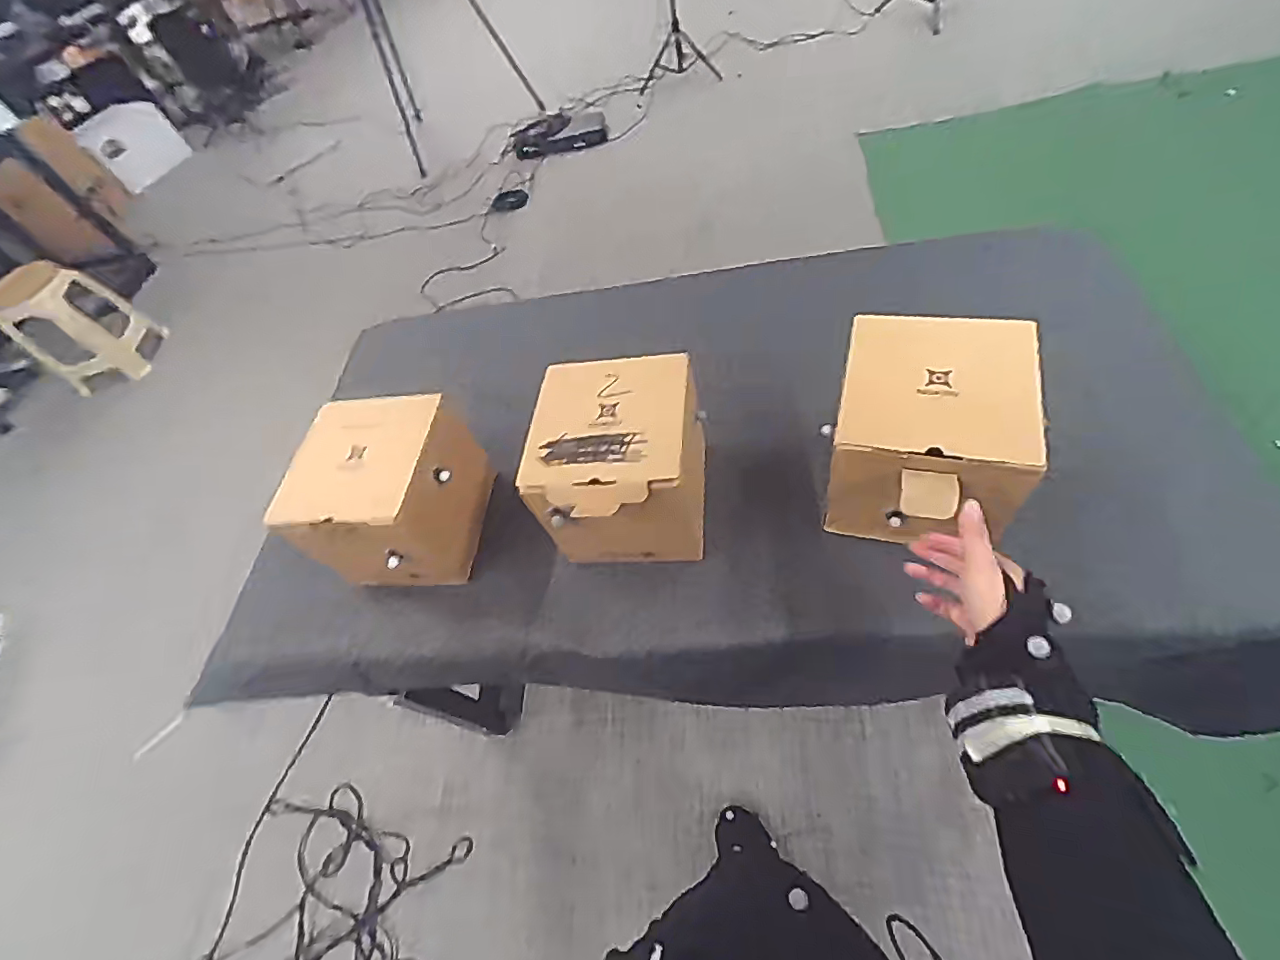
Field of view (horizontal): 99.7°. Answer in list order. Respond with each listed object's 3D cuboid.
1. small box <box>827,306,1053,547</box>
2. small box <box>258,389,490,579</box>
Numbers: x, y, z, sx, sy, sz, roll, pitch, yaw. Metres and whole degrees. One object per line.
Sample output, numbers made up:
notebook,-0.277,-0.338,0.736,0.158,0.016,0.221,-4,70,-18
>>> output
small box,0.294,-0.054,0.563,0.168,0.176,0.179,8,60,19
small box,-0.306,0.013,0.667,0.168,0.176,0.179,-2,56,11
